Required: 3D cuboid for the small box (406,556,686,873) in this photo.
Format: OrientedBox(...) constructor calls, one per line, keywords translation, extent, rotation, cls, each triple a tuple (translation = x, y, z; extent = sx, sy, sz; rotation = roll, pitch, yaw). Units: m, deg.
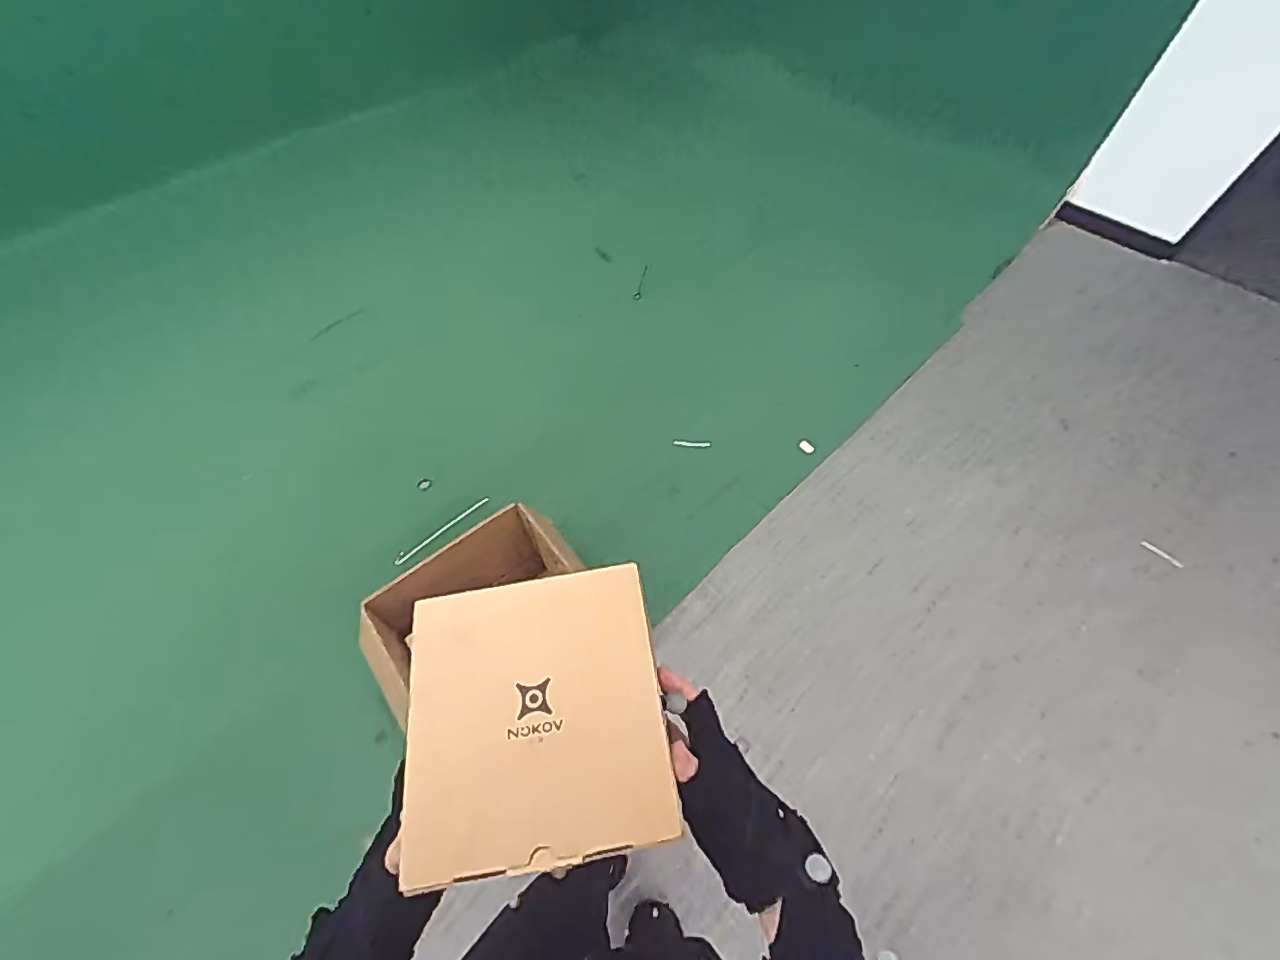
OrientedBox(translation=(-0.063, 0.183, 0.424), extent=(0.168, 0.176, 0.179), rotation=(-10, 59, -2), cls="small box")
